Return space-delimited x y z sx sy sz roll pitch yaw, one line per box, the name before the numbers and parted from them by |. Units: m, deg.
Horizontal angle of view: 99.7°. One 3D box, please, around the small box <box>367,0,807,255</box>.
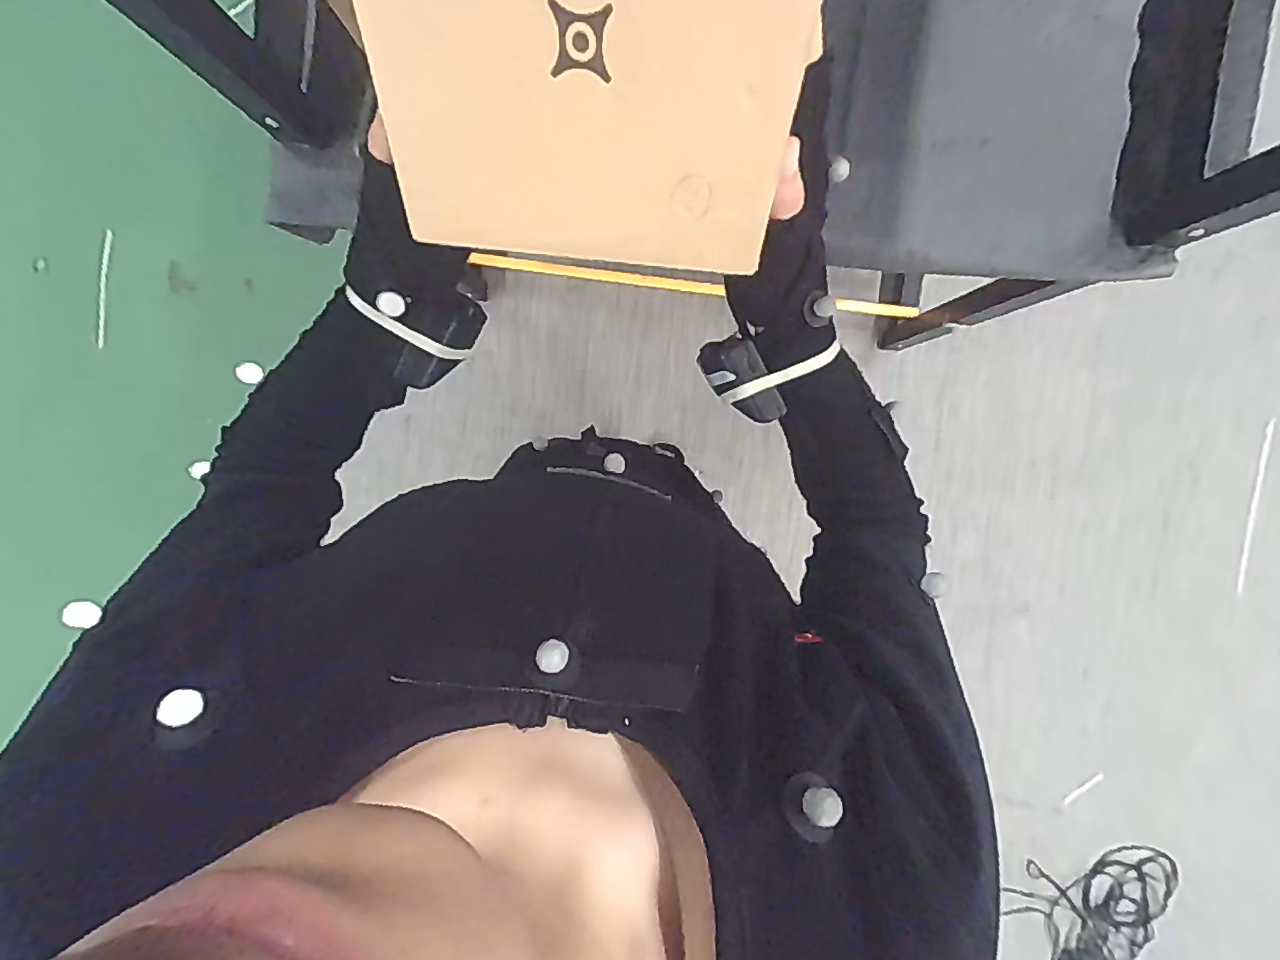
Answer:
small box | -0.014 -0.235 0.251 0.168 0.176 0.179 6 139 0
